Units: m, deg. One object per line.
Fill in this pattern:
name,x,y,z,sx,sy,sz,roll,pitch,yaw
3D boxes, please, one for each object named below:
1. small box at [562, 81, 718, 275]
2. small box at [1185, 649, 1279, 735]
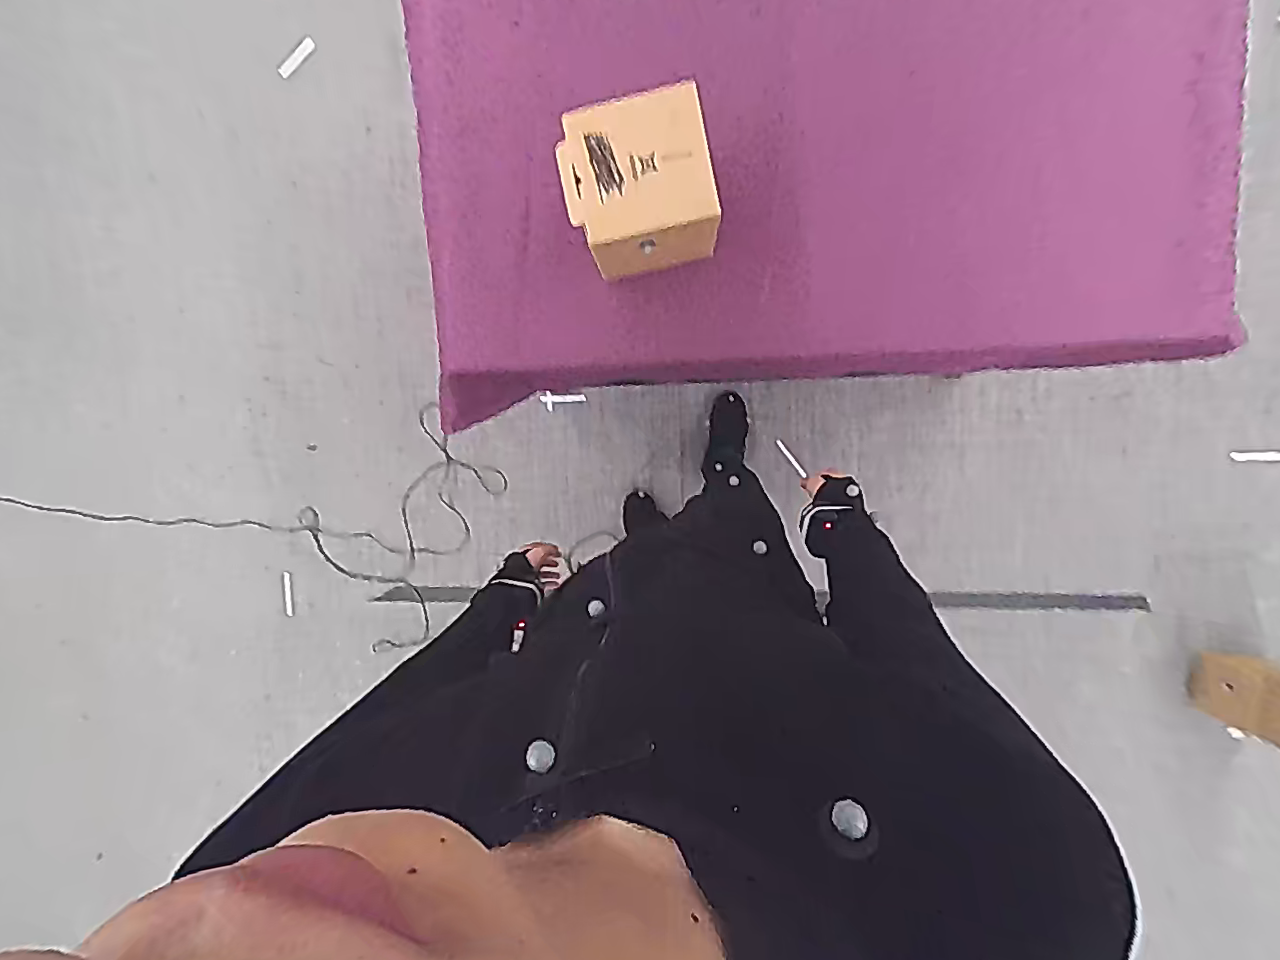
small box,0.005,-0.408,0.764,0.179,0.176,0.168,-12,95,4
small box,1.665,0.576,1.482,0.179,0.176,0.168,3,96,3
